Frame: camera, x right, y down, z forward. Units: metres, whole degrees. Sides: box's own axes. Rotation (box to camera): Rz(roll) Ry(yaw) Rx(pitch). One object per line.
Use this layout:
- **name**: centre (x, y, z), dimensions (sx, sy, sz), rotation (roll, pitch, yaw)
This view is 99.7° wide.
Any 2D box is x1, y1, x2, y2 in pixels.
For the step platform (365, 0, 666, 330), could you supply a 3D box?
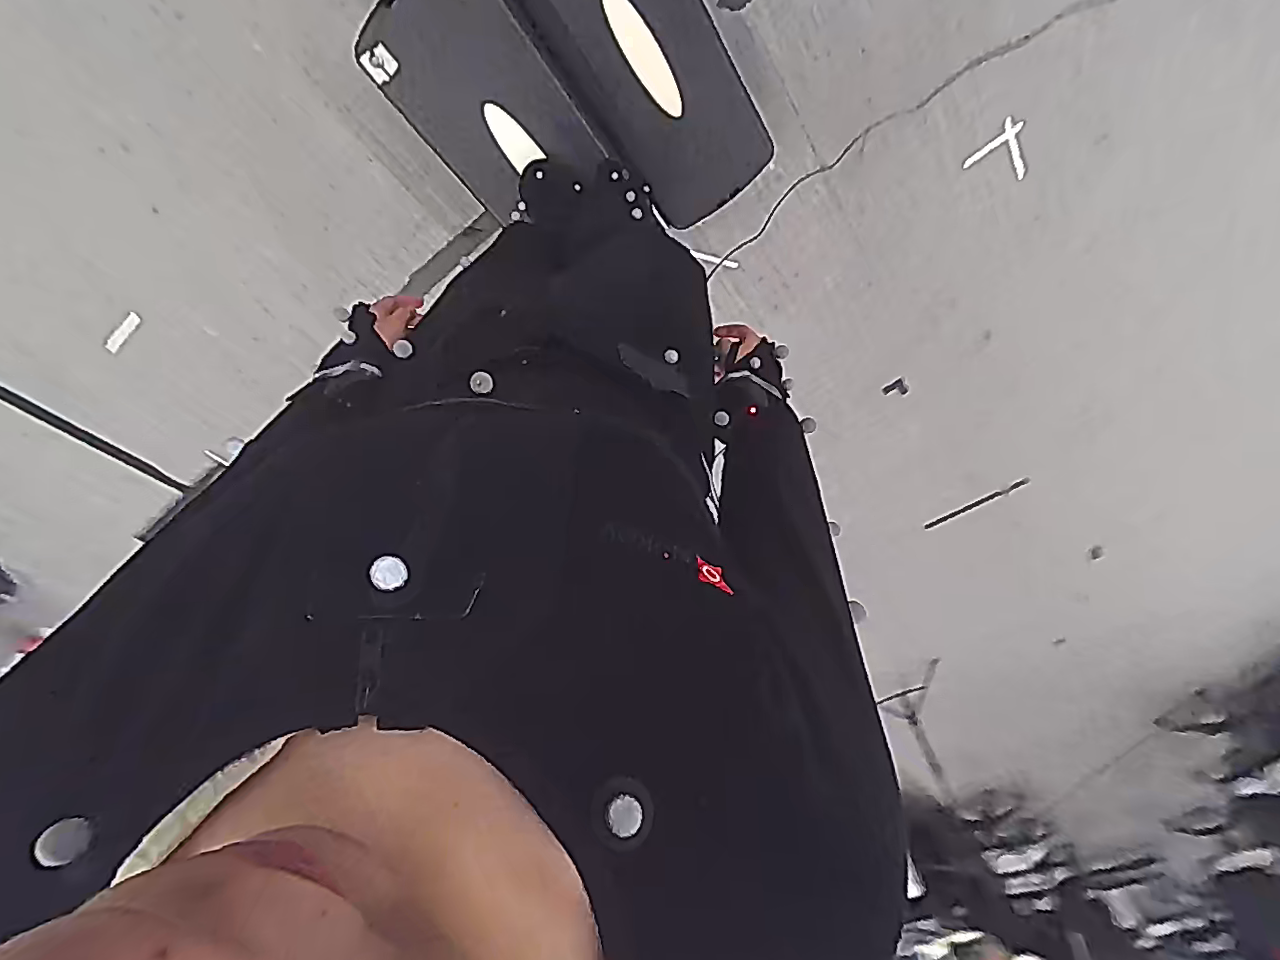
- **step platform**: centre (-0.223, -0.664, 1.159), dimensions (0.286, 0.204, 0.684), rotation (-30, 125, 16)
